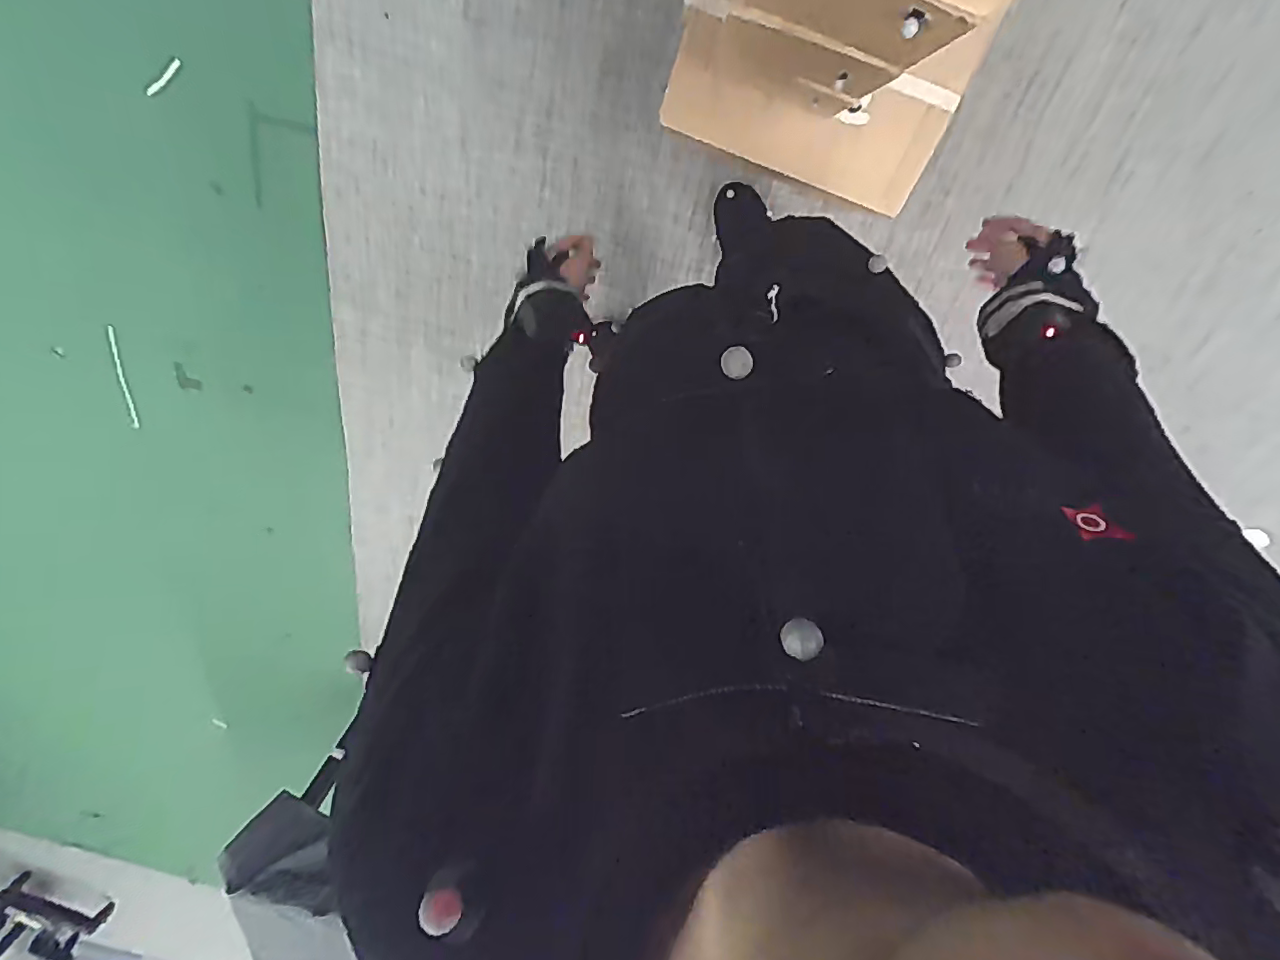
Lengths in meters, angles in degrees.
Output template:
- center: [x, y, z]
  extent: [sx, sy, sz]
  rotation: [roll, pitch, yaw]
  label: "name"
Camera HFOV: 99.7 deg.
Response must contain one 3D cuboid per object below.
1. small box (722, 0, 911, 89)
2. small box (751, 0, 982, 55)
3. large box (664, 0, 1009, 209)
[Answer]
- center: [0.189, -0.506, 0.525]
  extent: [0.179, 0.176, 0.168]
  rotation: [17, 119, -1]
  label: "small box"
- center: [0.175, -0.436, 0.379]
  extent: [0.179, 0.176, 0.168]
  rotation: [19, 119, -3]
  label: "small box"
- center: [0.281, -0.677, 0.885]
  extent: [0.408, 0.320, 0.320]
  rotation: [19, 121, -3]
  label: "large box"
